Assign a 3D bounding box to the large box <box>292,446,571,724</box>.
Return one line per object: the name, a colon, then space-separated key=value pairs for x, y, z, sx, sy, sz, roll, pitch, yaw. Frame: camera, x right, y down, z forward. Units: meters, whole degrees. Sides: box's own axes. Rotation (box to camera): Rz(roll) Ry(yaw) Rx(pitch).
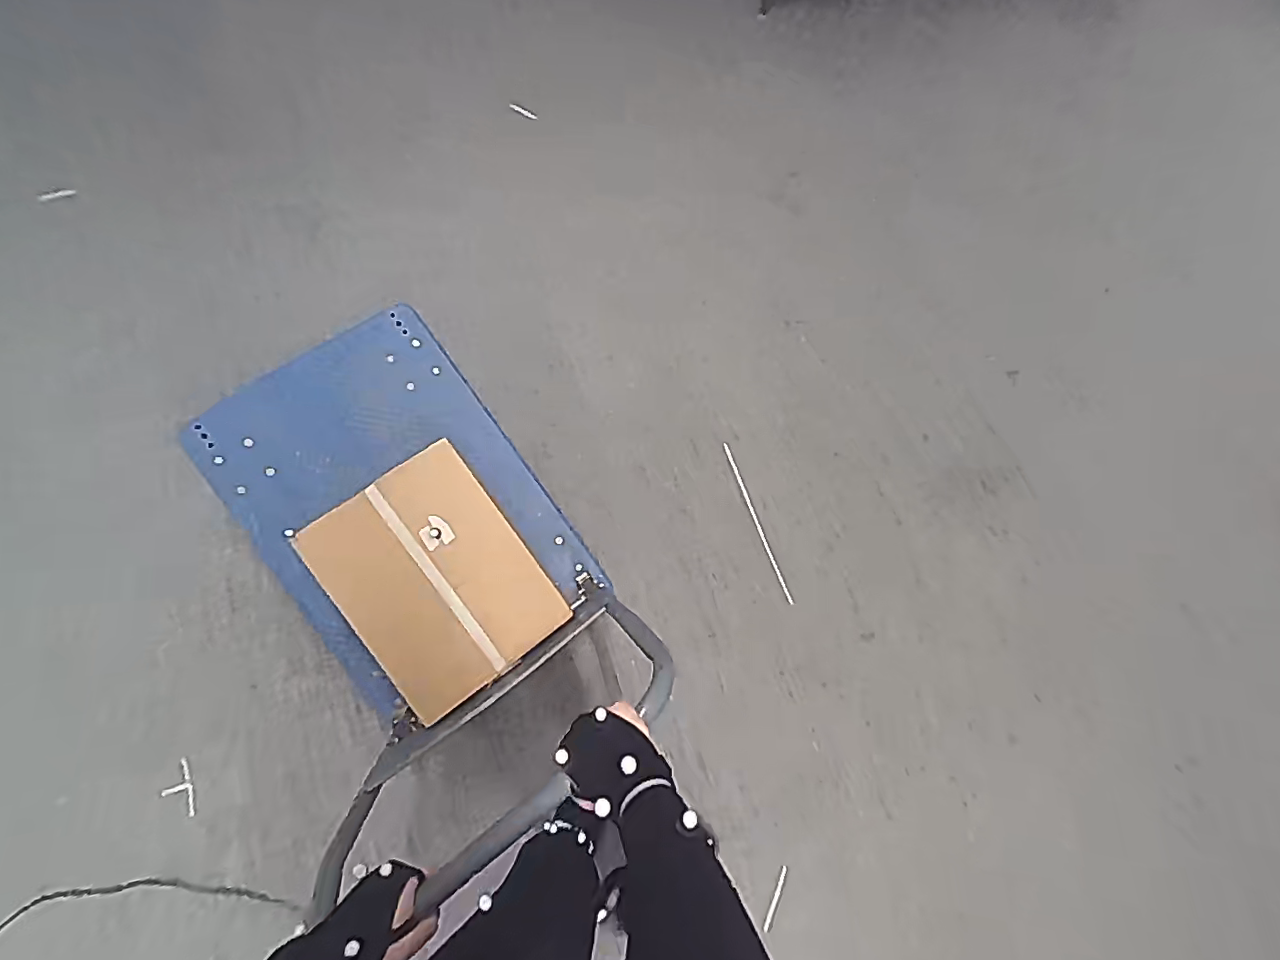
large box: x=-0.386 y=0.200 z=1.105 sx=0.320 sy=0.320 sz=0.408 roll=-37 pitch=90 yaw=-14
